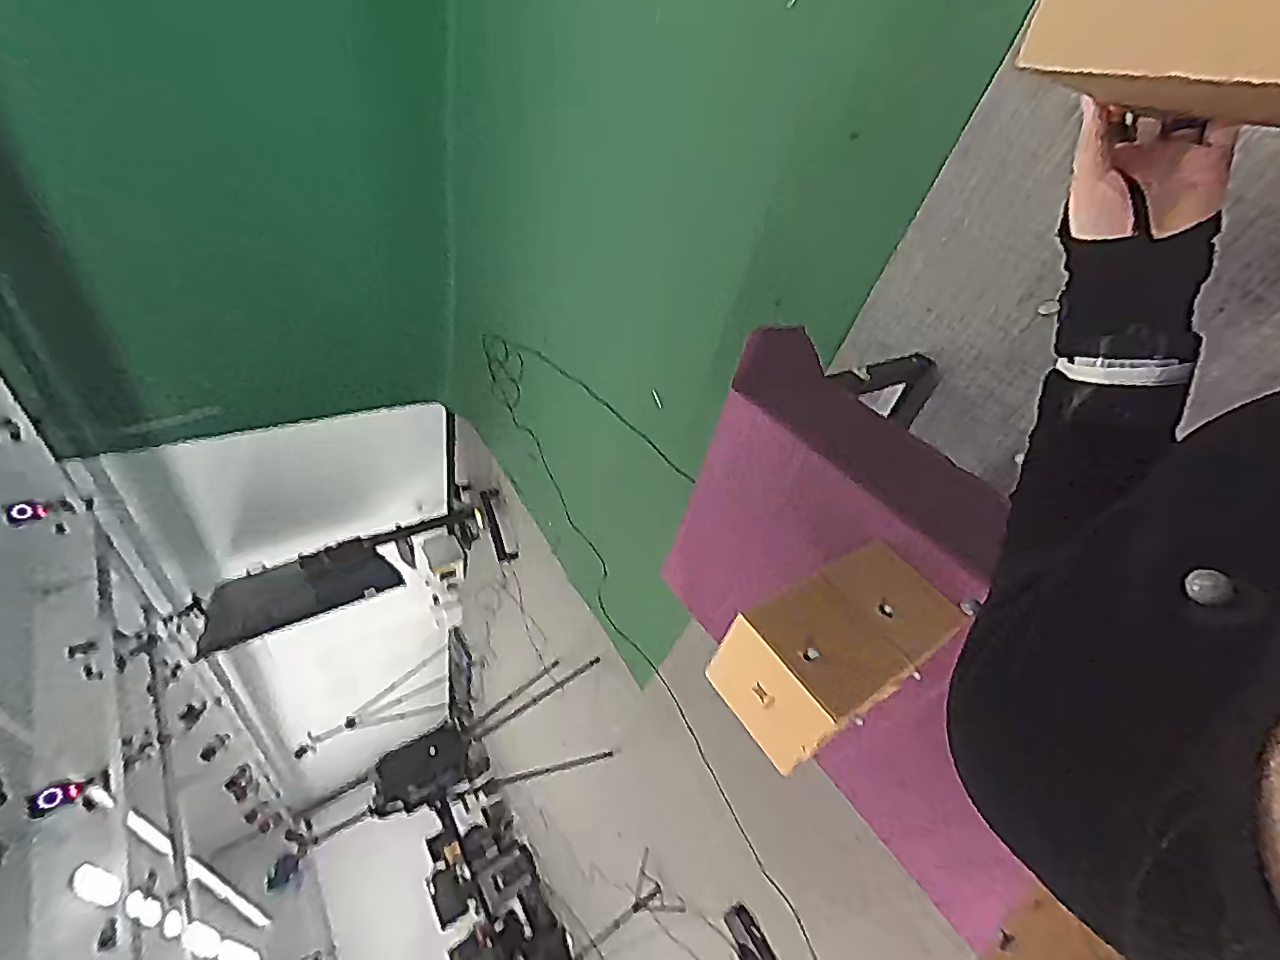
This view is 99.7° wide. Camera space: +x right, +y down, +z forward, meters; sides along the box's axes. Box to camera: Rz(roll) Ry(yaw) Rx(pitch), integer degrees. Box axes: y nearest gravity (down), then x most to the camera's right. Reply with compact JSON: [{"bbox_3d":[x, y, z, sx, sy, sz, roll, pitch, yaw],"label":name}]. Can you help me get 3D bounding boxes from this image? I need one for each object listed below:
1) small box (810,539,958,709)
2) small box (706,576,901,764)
[{"bbox_3d":[0.365,0.223,0.873,0.179,0.176,0.168,49,140,32],"label":"small box"},{"bbox_3d":[0.233,0.262,0.786,0.179,0.176,0.168,47,139,31],"label":"small box"}]
